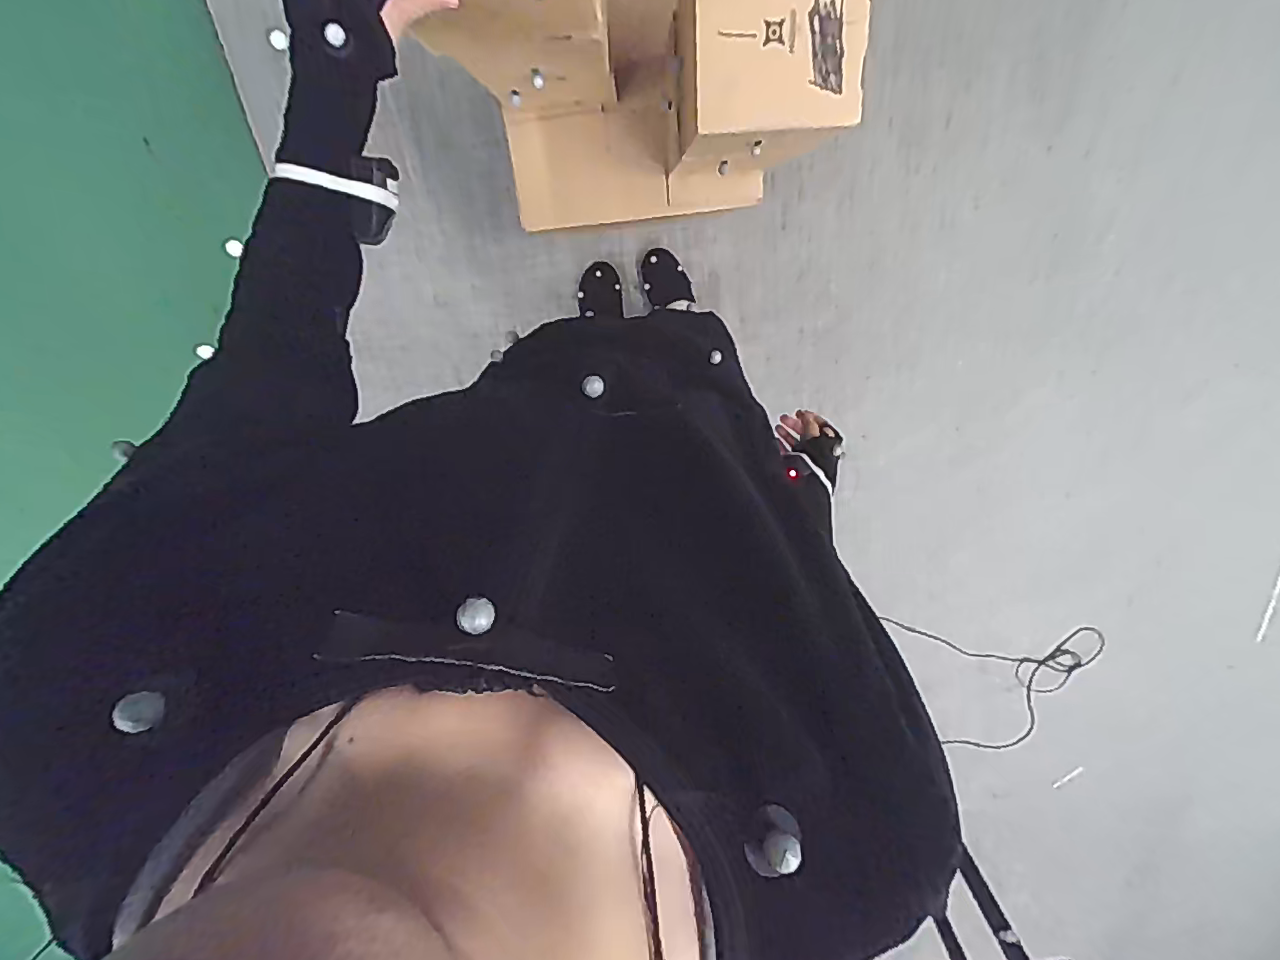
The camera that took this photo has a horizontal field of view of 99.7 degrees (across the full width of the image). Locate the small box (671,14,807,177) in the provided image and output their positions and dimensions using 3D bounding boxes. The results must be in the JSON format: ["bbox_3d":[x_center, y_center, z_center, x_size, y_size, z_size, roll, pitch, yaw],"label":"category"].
[{"bbox_3d":[0.134,-0.535,0.767,0.179,0.176,0.168,-3,115,1],"label":"small box"}]

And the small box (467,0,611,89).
[{"bbox_3d":[-0.118,-0.550,0.583,0.168,0.176,0.179,0,114,1],"label":"small box"}]

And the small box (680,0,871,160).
[{"bbox_3d":[0.141,-0.472,0.616,0.179,0.176,0.168,-3,113,0],"label":"small box"}]

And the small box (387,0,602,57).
[{"bbox_3d":[-0.133,-0.475,0.436,0.179,0.176,0.168,-7,113,3],"label":"small box"}]
